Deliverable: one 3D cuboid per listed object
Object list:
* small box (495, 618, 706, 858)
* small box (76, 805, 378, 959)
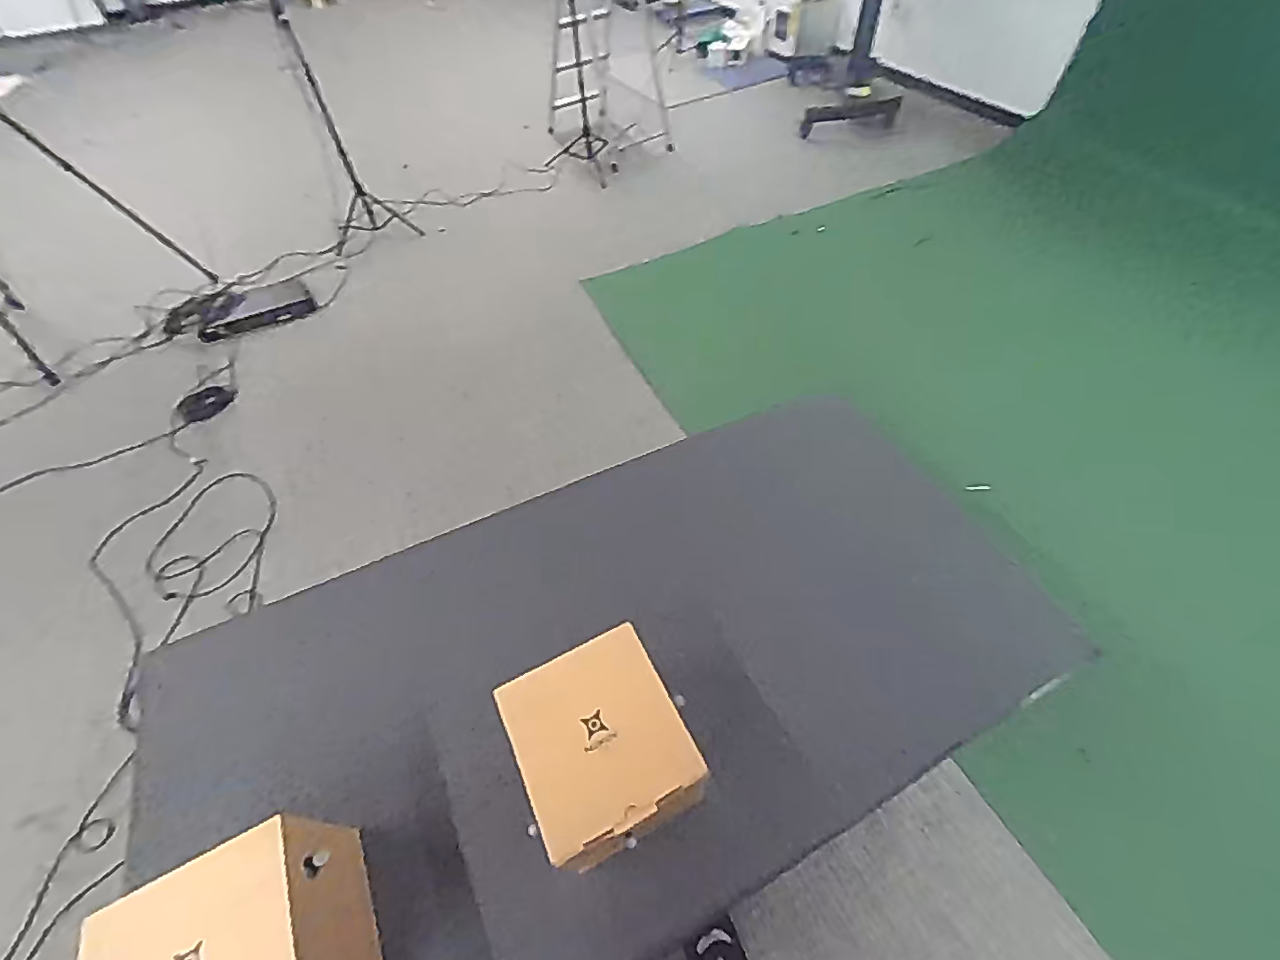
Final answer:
[{"bbox_3d":[-0.045,0.294,0.613,0.168,0.176,0.179,-23,56,-15],"label":"small box"},{"bbox_3d":[-0.371,0.446,0.507,0.168,0.176,0.179,-24,56,-15],"label":"small box"}]
